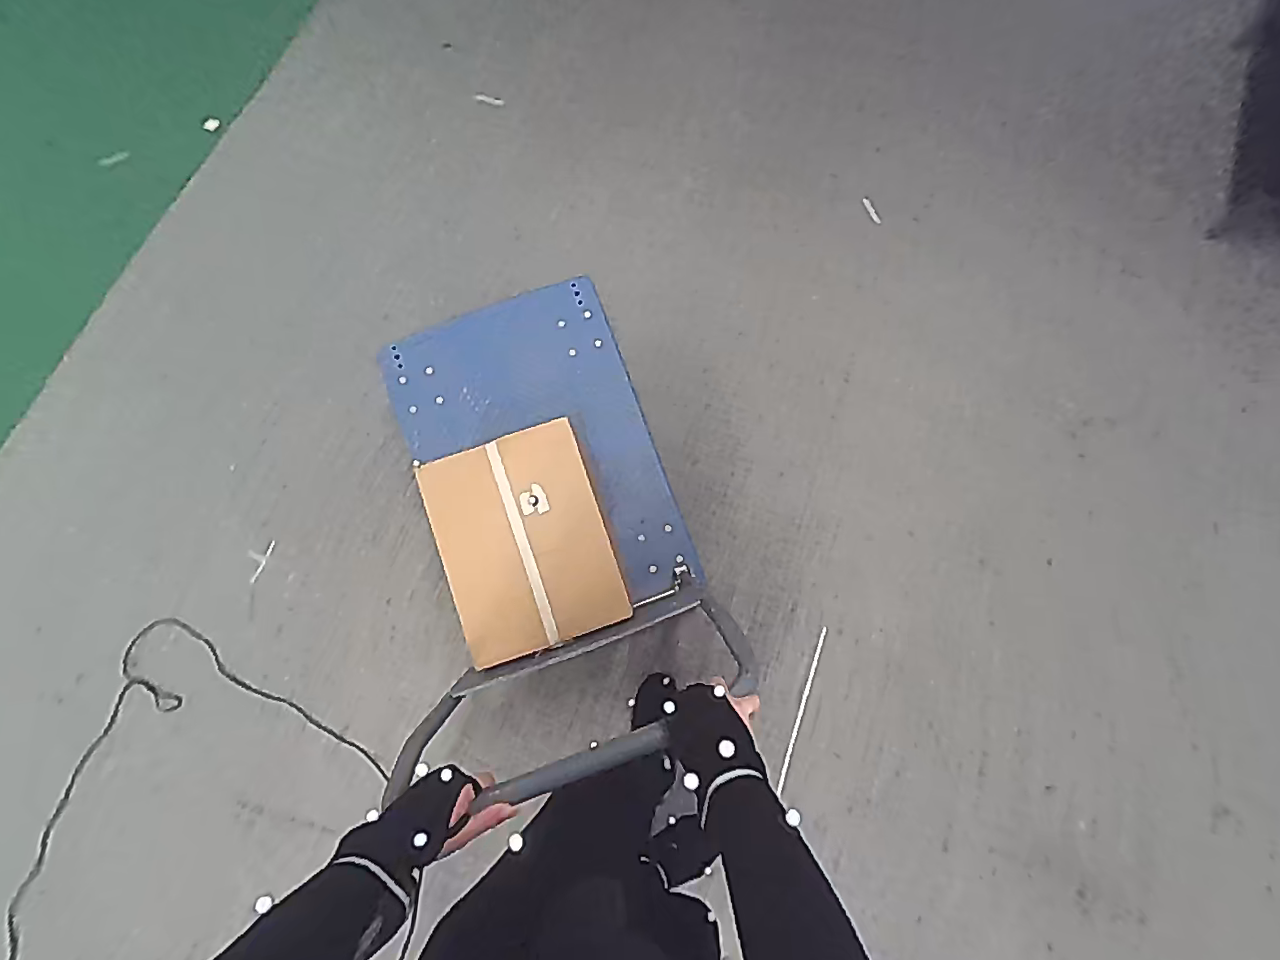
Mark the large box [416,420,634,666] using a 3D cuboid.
[{"bbox_3d":[-0.222,0.131,1.178,0.320,0.320,0.408,-19,85,-3],"label":"large box"}]
